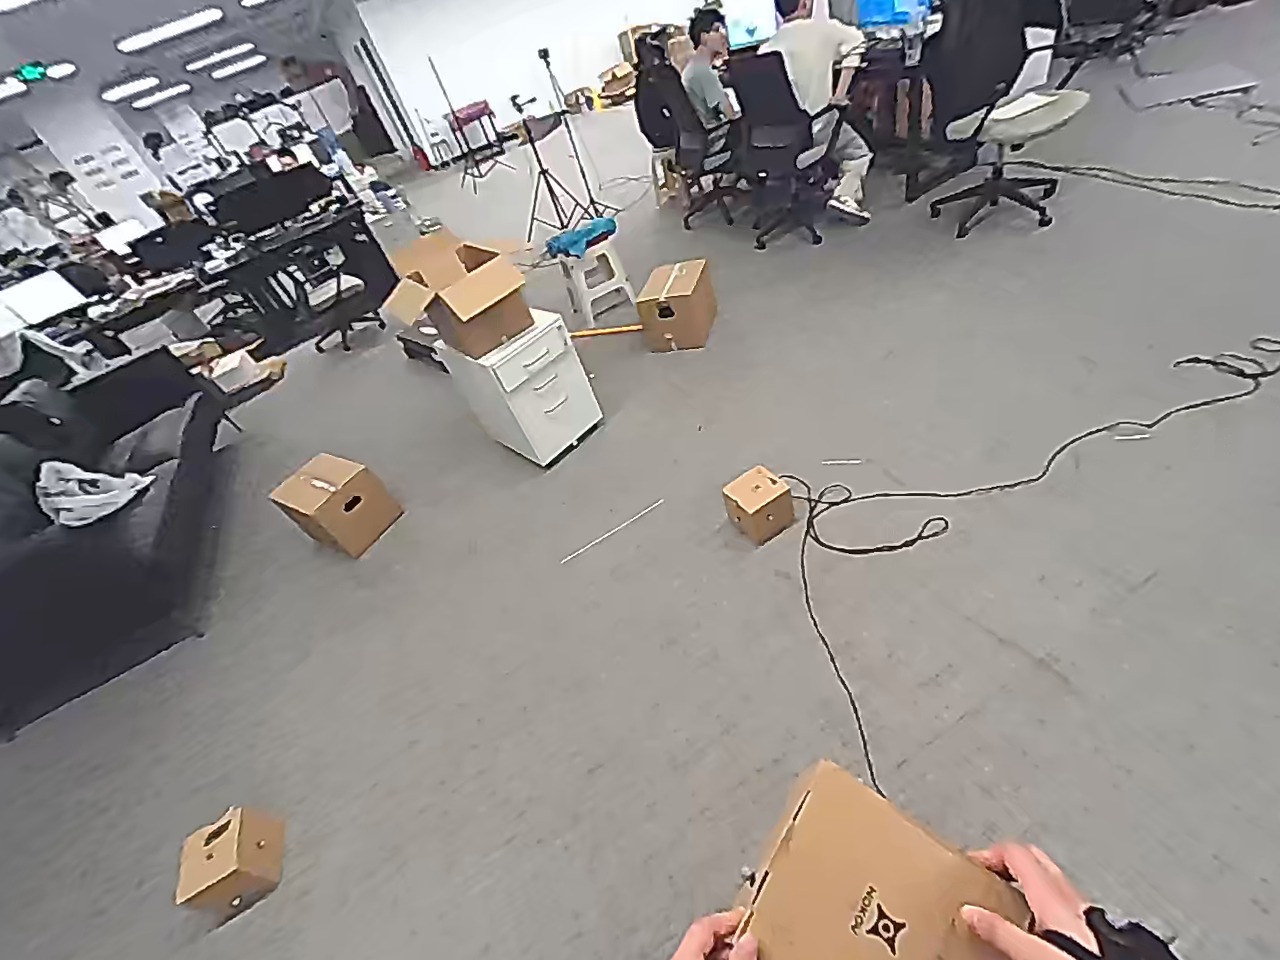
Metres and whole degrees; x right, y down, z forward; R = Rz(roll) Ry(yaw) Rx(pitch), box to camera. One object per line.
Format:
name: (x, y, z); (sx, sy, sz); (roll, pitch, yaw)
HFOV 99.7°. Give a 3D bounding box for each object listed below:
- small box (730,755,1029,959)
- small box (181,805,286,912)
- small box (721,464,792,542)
small box: (0.197, 0.385, 0.490); (0.179, 0.176, 0.168); (28, 67, 24)
small box: (-1.138, 1.073, 1.531); (0.168, 0.176, 0.179); (-30, 42, -9)
small box: (0.414, 0.084, 1.898); (0.179, 0.176, 0.168); (-33, 42, -10)
